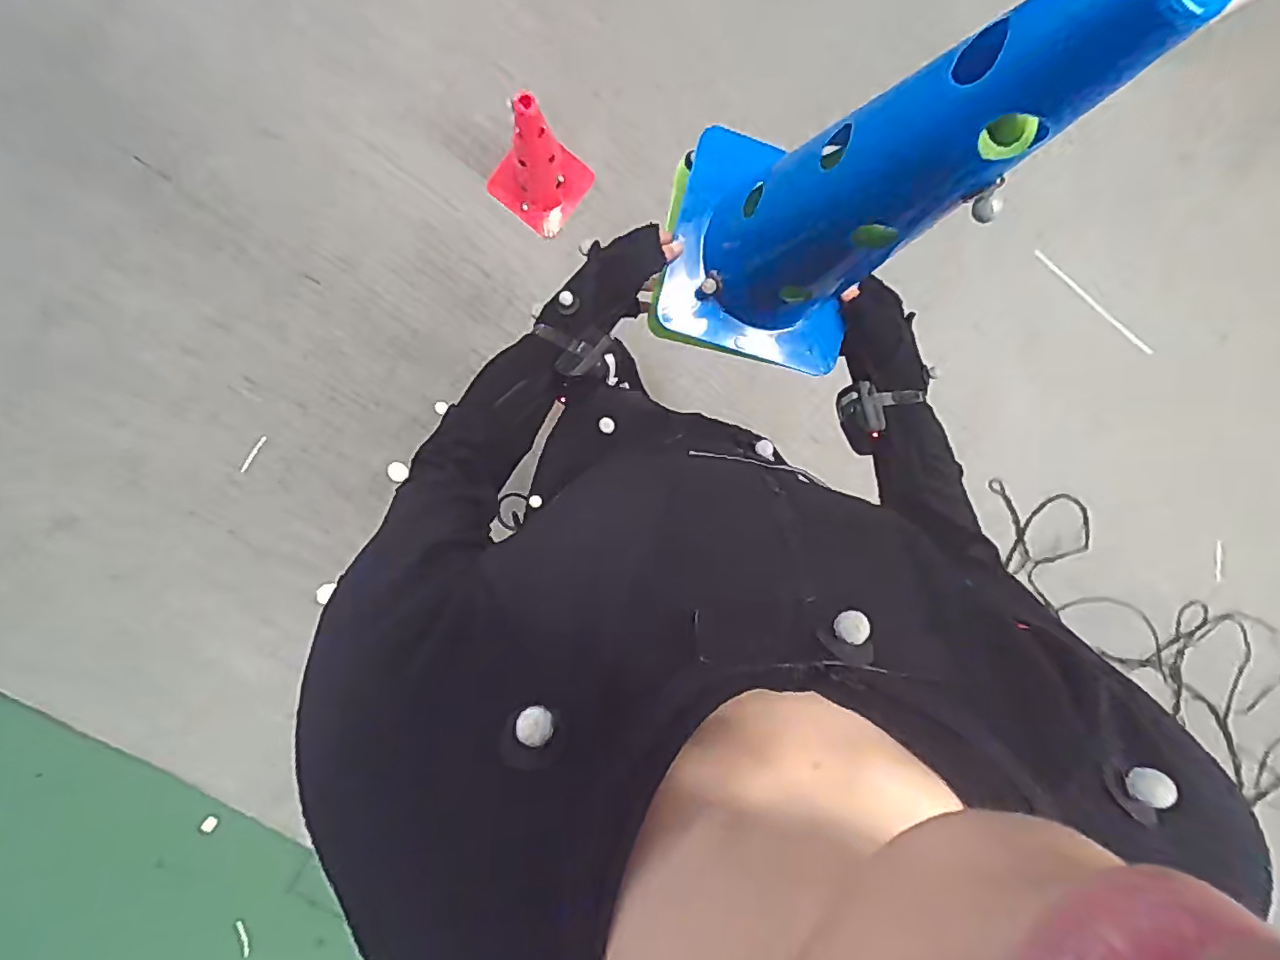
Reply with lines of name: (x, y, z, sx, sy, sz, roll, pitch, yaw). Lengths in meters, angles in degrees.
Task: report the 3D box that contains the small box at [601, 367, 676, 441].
small box: (-0.008, -0.198, 1.376, 0.168, 0.176, 0.179, -3, 102, -11)
